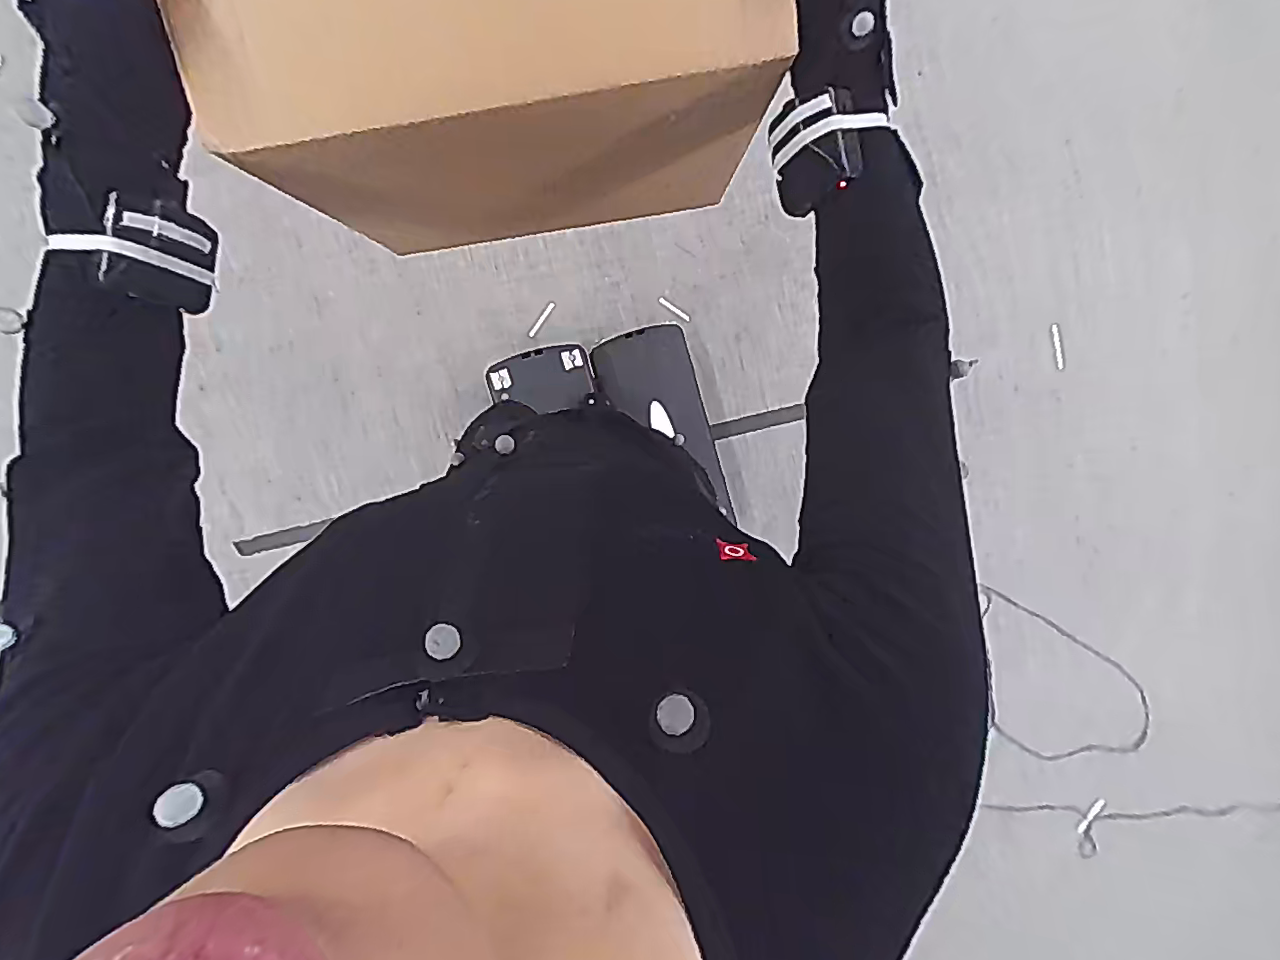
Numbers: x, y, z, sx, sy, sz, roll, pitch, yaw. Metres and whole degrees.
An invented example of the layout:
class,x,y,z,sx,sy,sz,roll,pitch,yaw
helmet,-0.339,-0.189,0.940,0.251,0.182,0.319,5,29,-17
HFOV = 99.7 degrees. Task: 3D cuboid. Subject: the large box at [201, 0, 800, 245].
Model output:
class,x,y,z,sx,sy,sz,roll,pitch,yaw
large box,-0.113,-0.440,0.494,0.408,0.320,0.320,-9,101,0
